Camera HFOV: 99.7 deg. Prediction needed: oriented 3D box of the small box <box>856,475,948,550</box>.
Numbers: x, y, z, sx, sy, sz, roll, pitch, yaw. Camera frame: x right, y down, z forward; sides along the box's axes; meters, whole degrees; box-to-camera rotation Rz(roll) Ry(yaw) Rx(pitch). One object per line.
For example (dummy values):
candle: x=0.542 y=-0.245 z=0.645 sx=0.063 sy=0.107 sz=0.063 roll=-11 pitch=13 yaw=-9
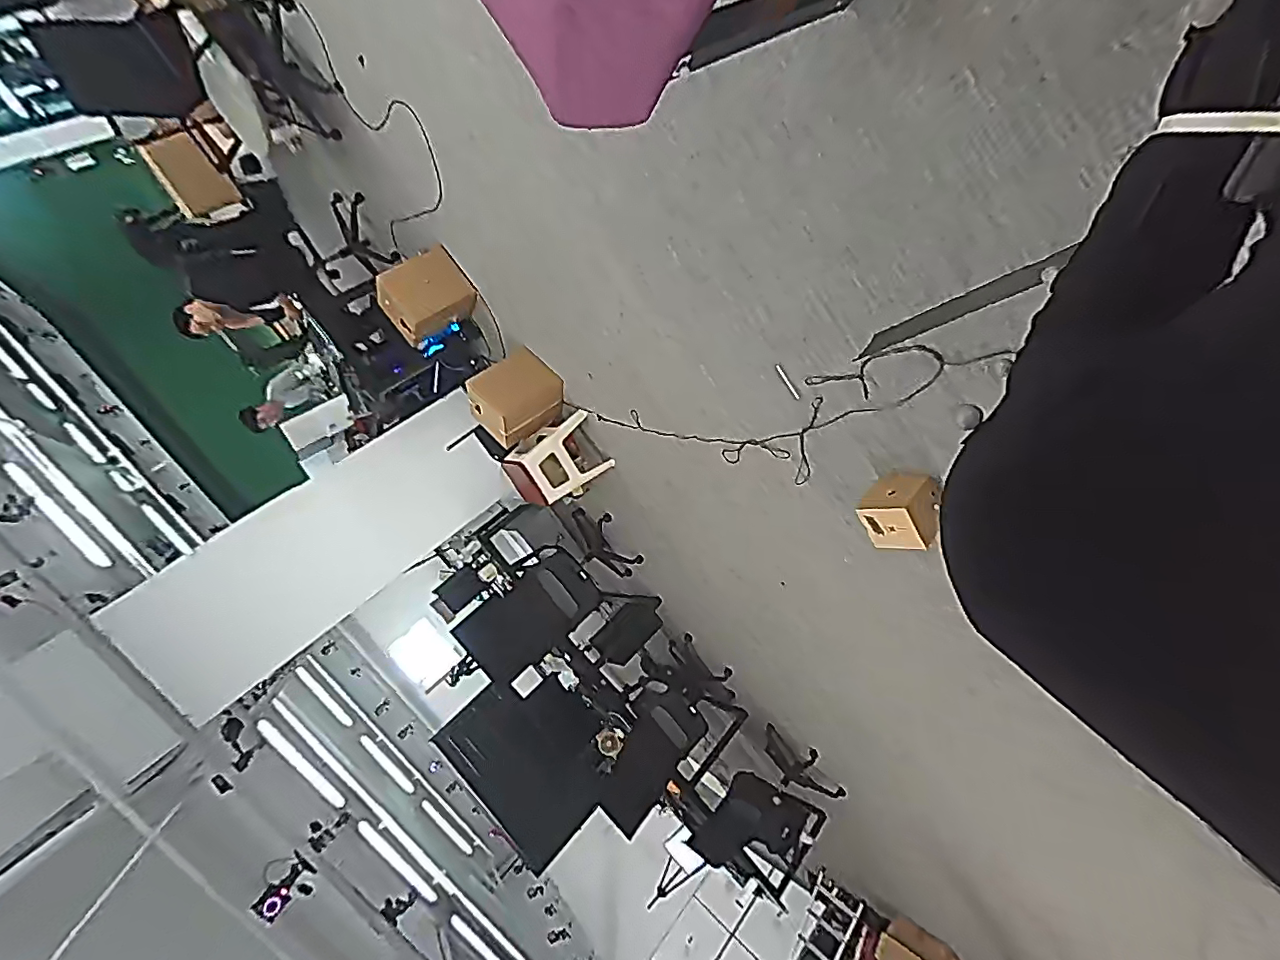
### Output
small box: x=0.824 y=0.099 z=1.697 sx=0.168 sy=0.176 sz=0.179 roll=56 pitch=152 yaw=-16
